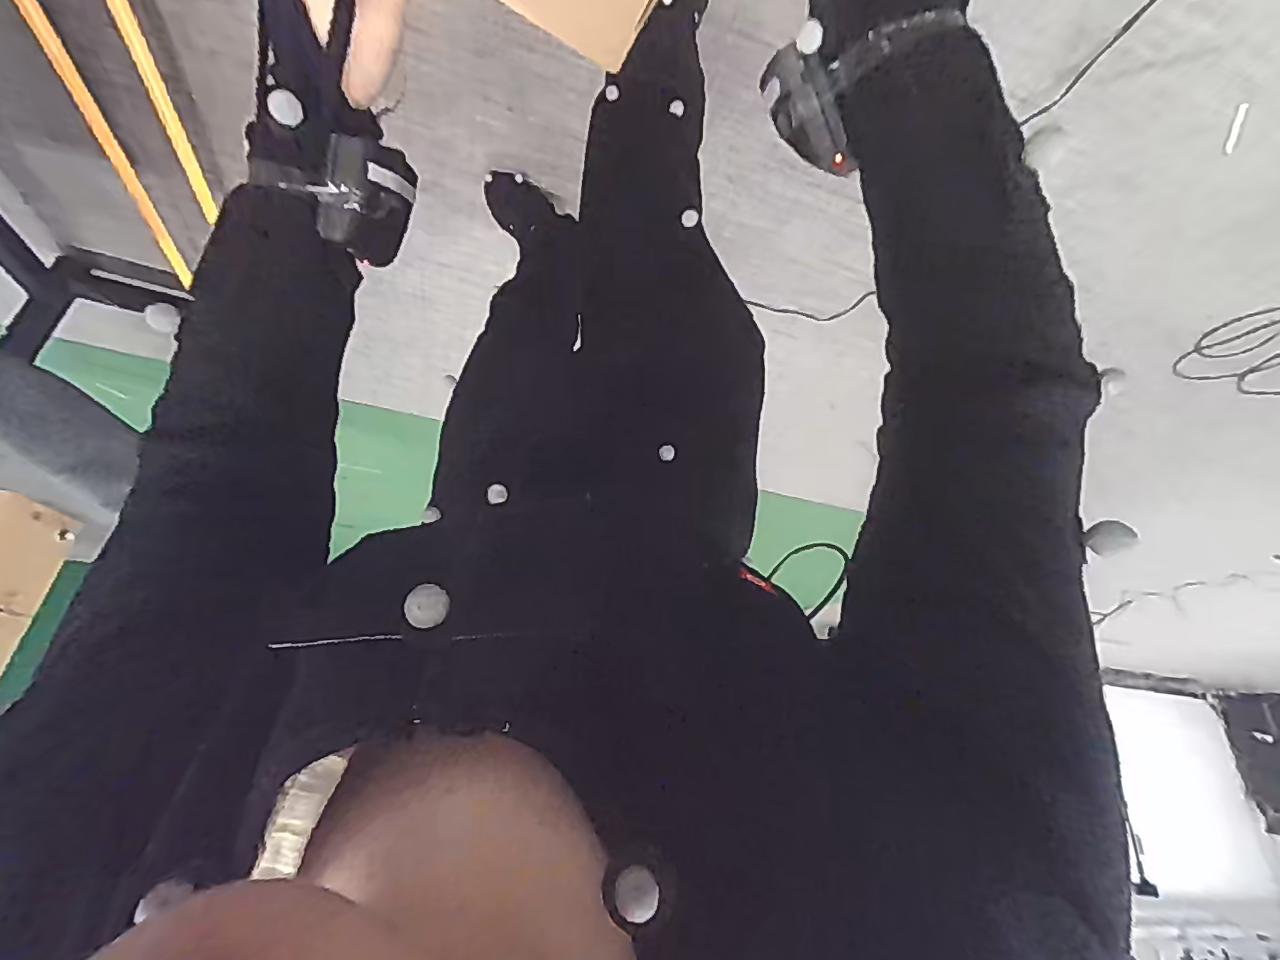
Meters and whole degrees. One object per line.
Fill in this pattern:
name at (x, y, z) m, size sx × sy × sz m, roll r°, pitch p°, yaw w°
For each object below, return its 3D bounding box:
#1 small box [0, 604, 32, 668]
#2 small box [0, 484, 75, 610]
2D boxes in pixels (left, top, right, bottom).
small box at (-1.066, 0.246, 0.774) m, size 0.179 × 0.176 × 0.168 m, roll 10°, pitch 157°, yaw -10°
small box at (-1.050, 0.096, 0.840) m, size 0.179 × 0.176 × 0.168 m, roll 12°, pitch 155°, yaw -11°
